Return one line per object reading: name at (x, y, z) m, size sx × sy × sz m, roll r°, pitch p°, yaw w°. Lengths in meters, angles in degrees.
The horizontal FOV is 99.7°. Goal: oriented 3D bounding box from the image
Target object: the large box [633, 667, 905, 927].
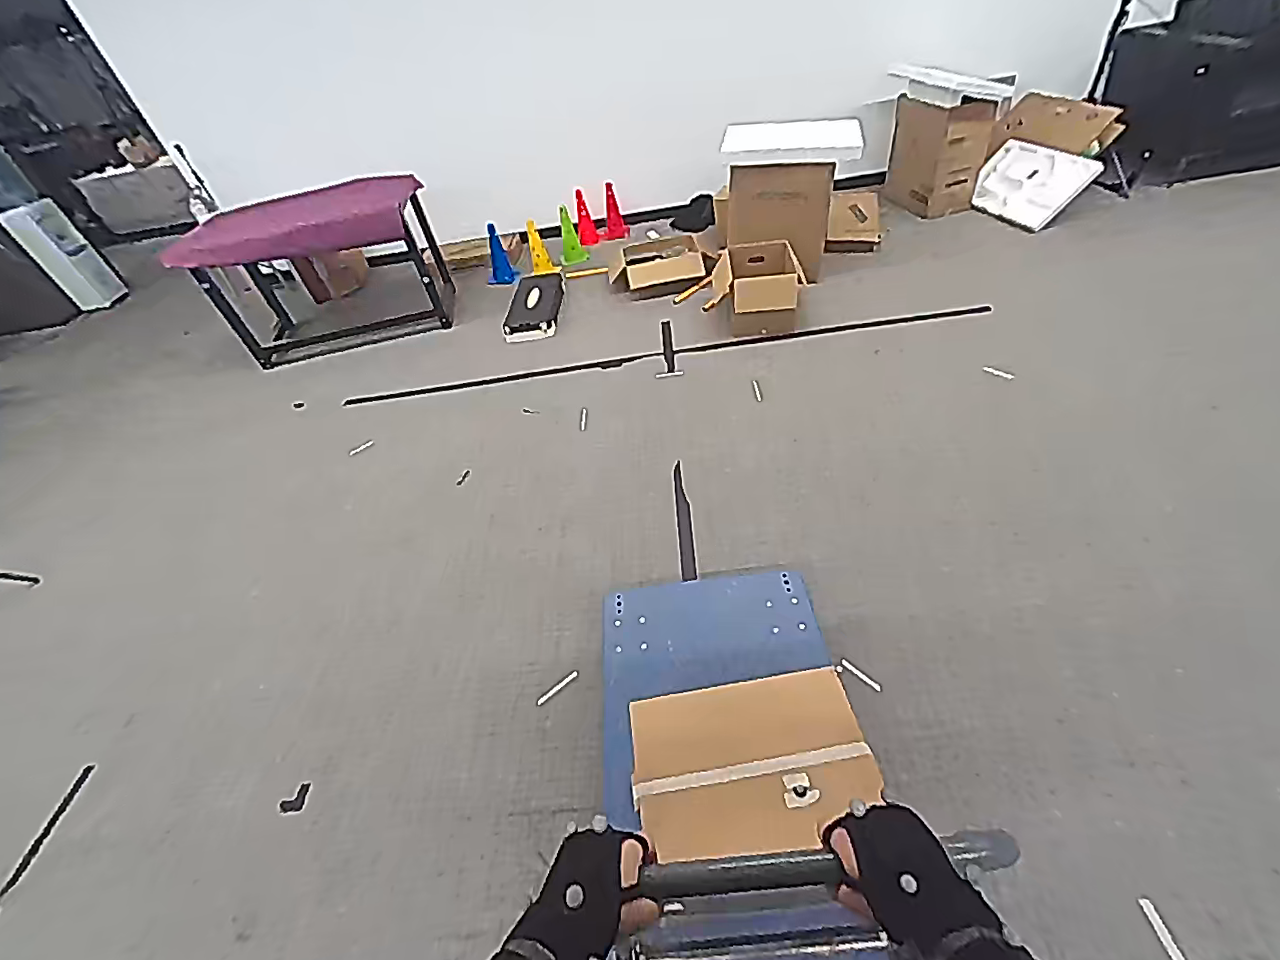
large box at (0.217, 0.611, 1.045) m, size 0.408 × 0.320 × 0.320 m, roll -10°, pitch 44°, yaw 0°
